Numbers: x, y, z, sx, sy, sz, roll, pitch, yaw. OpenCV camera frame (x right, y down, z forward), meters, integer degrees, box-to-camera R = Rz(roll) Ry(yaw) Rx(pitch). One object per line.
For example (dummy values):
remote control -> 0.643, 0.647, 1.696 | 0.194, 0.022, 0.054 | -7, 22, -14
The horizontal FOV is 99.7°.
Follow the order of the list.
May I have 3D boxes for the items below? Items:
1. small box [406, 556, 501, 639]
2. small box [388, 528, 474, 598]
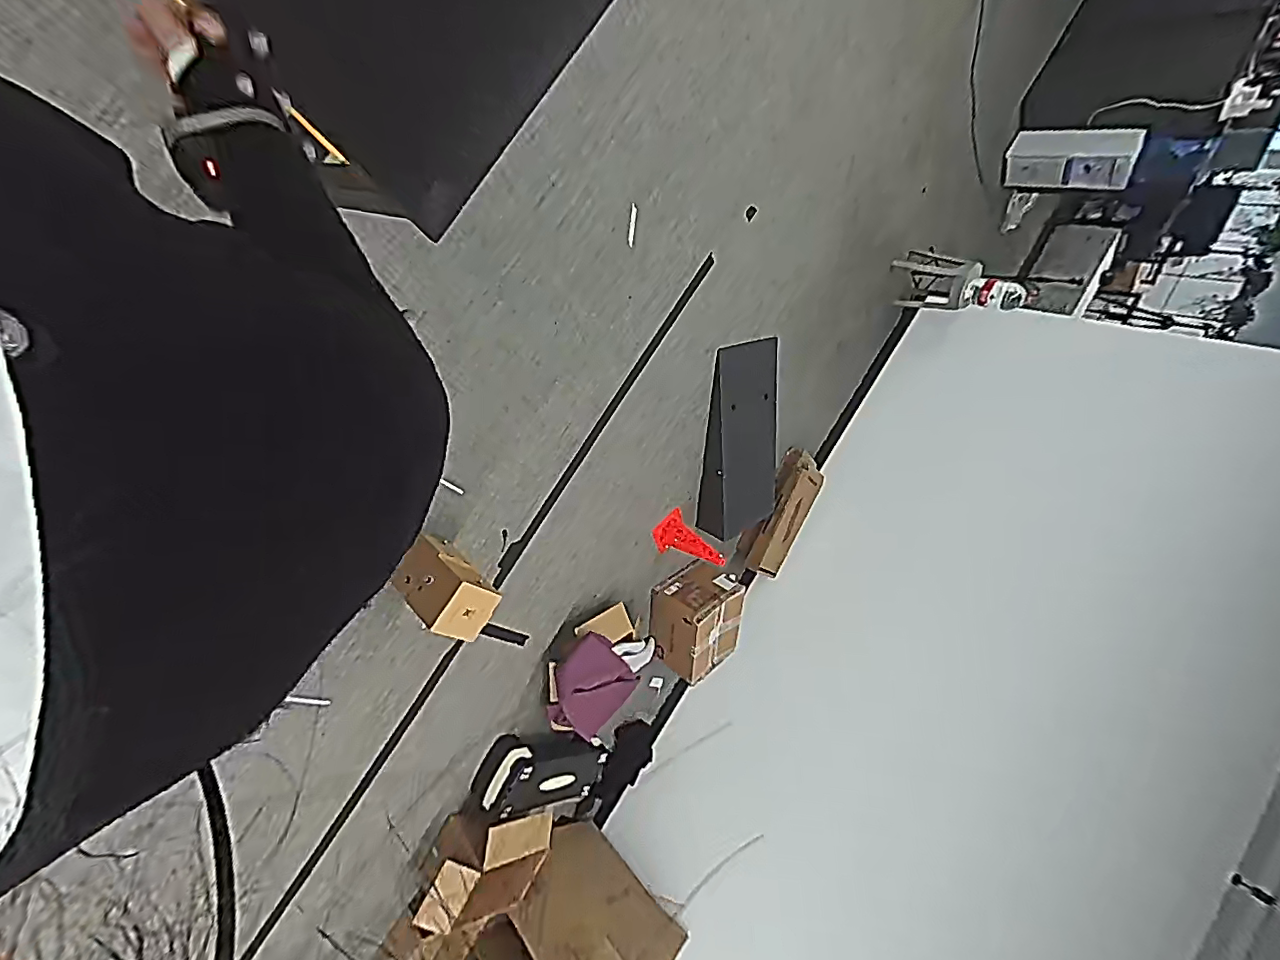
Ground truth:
small box -> -0.564, 0.353, 1.634 | 0.168, 0.176, 0.179 | -58, 141, -7
small box -> -0.675, 0.284, 1.731 | 0.179, 0.176, 0.168 | -56, 142, -8
